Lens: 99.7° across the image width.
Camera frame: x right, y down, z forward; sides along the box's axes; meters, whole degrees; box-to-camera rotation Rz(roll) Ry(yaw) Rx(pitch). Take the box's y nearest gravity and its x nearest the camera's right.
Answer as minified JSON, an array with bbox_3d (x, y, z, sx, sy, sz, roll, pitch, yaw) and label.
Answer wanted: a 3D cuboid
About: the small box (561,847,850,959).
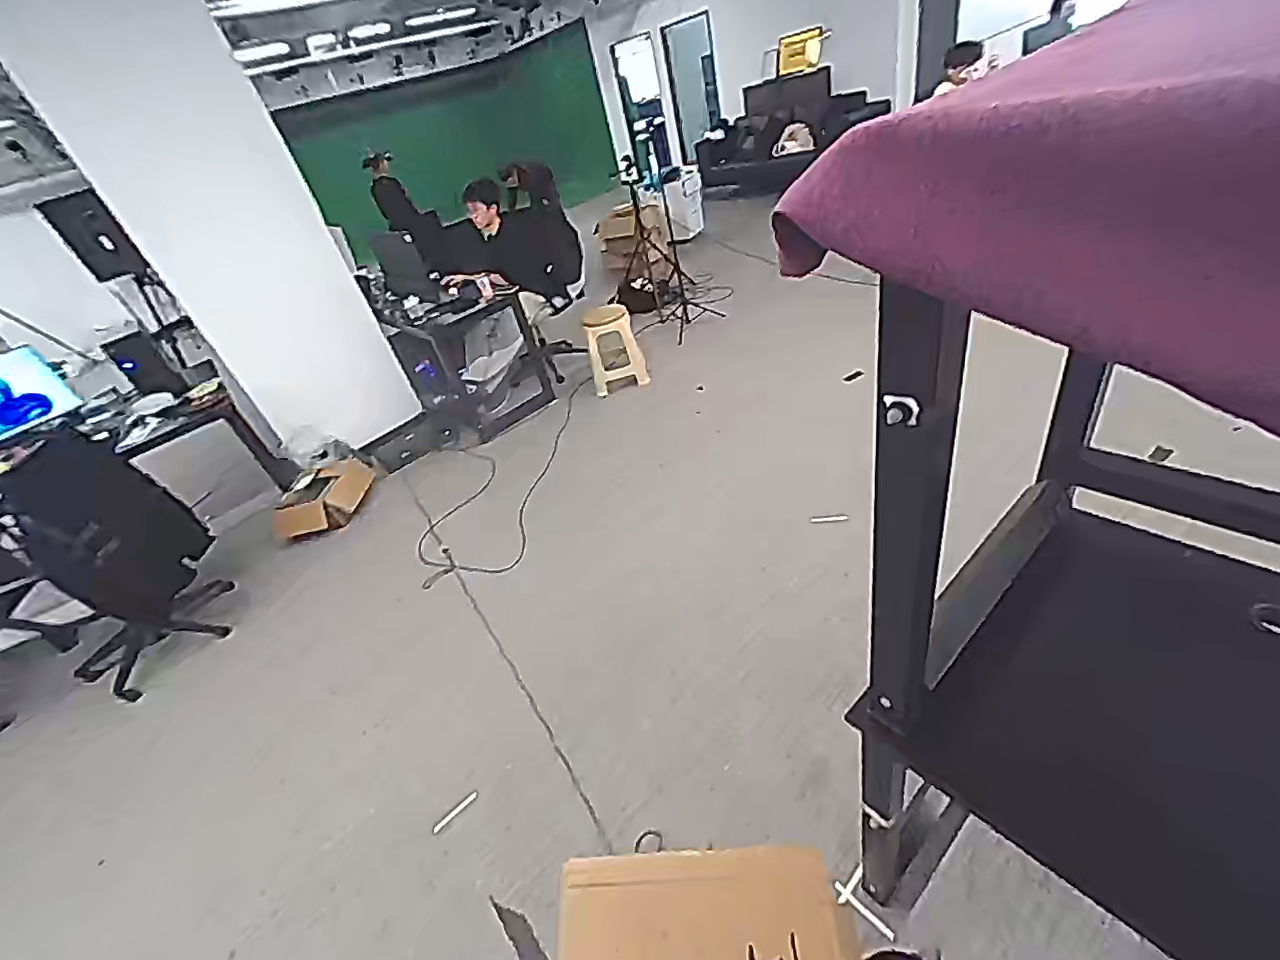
[{"bbox_3d":[0.042,0.359,0.366,0.179,0.176,0.168,-3,48,1],"label":"small box"}]
